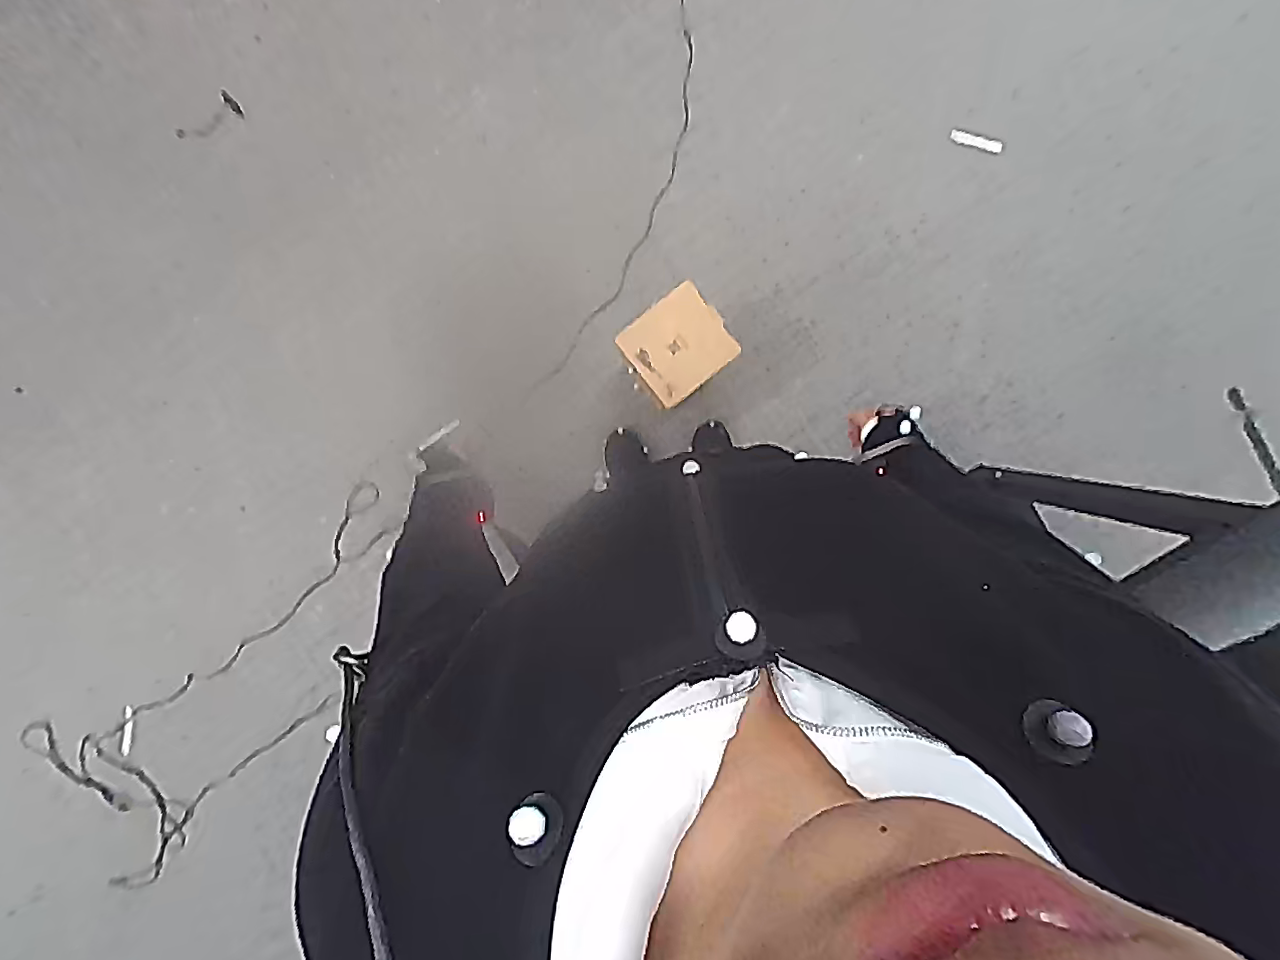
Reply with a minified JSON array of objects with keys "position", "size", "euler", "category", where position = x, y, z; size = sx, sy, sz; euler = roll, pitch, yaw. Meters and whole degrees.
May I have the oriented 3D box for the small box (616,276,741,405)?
[{"position":[0.069,-0.264,1.065],"size":[0.179,0.176,0.168],"euler":[-38,94,4],"category":"small box"}]
